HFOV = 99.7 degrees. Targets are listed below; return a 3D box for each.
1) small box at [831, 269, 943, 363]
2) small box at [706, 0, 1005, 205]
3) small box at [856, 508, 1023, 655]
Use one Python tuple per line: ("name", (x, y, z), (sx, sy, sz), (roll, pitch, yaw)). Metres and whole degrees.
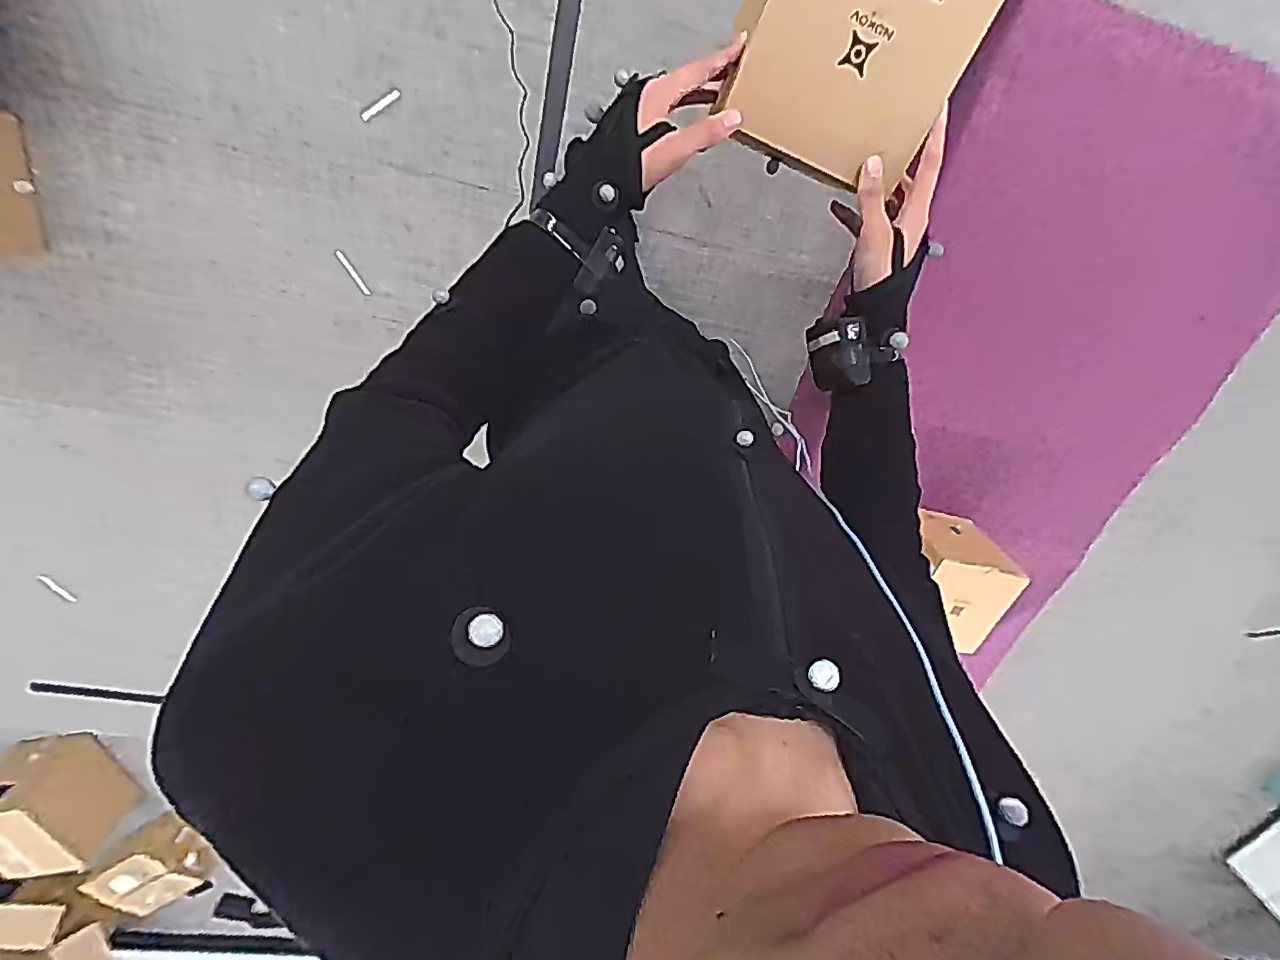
("small box", (0.602, -0.414, 1.346), (0.168, 0.176, 0.179), (8, 120, -9))
("small box", (0.168, -0.373, 0.476), (0.168, 0.176, 0.179), (18, 121, -12))
("small box", (0.514, 0.178, 0.964), (0.168, 0.176, 0.179), (13, 117, -11))
